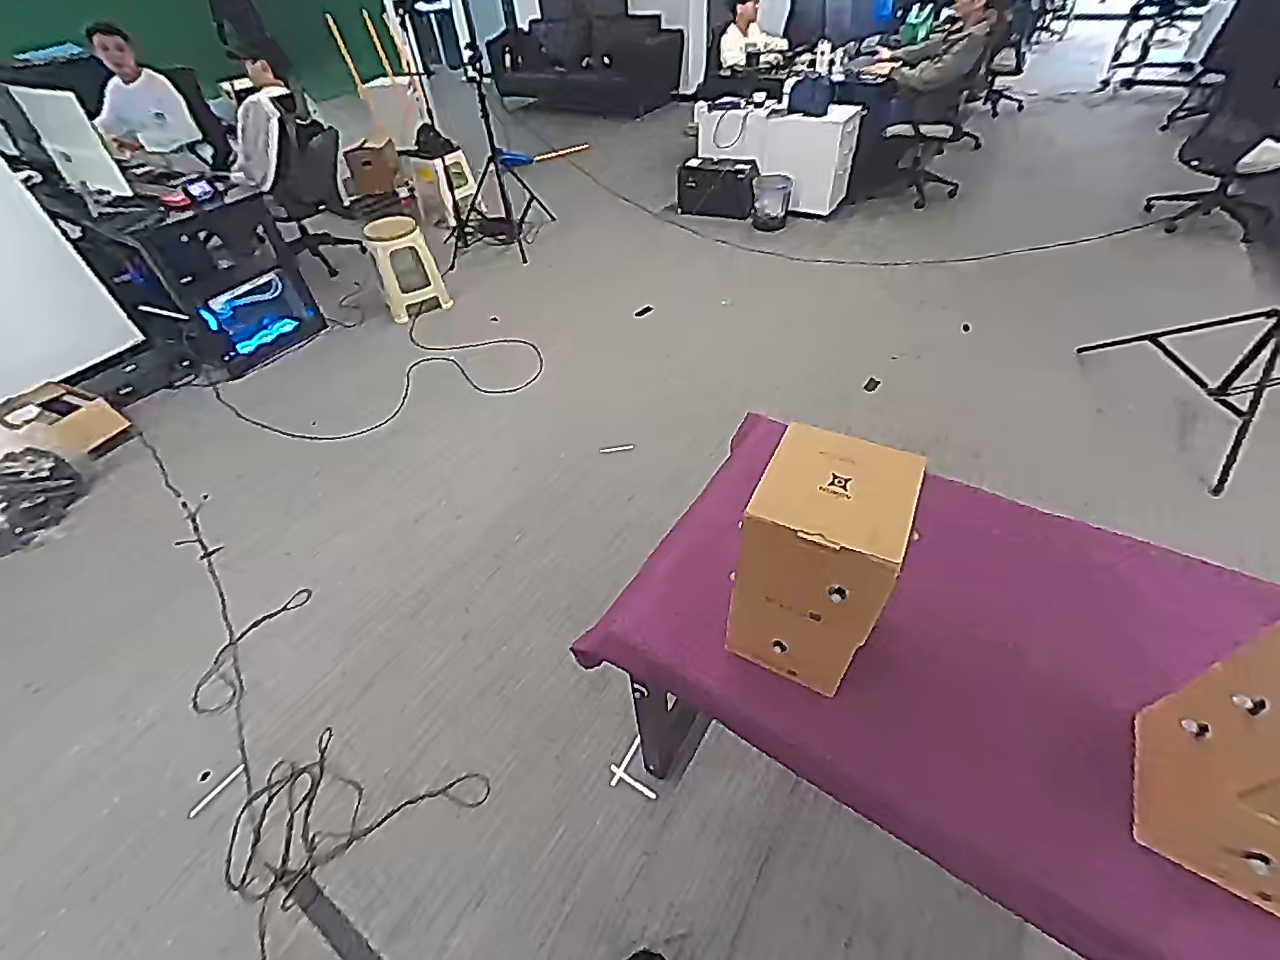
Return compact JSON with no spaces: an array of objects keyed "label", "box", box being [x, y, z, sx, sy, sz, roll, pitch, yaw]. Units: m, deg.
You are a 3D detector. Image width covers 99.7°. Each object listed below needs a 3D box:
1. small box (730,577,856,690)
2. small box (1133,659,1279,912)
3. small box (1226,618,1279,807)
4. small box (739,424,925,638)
[{"label":"small box","box":[0.238,0.172,0.790,0.168,0.176,0.179,20,49,22]},{"label":"small box","box":[0.687,0.342,0.592,0.168,0.176,0.179,23,51,25]},{"label":"small box","box":[0.681,0.224,0.479,0.168,0.176,0.179,24,52,25]},{"label":"small box","box":[0.228,0.063,0.670,0.168,0.176,0.179,19,49,20]}]
